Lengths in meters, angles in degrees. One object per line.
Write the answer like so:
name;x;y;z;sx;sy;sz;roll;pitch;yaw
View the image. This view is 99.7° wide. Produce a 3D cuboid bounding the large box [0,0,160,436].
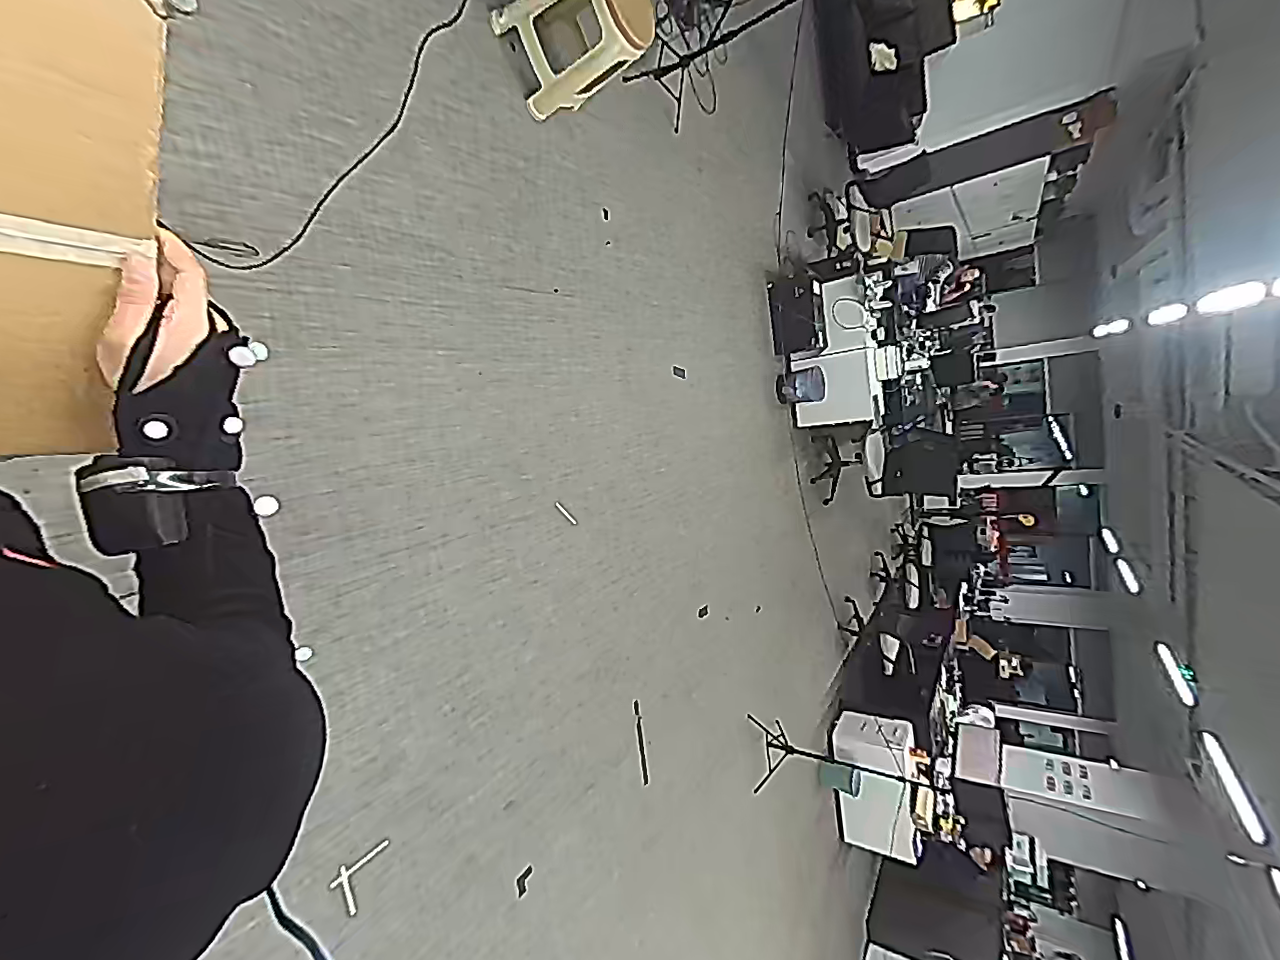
large box;-0.545;-0.226;0.264;0.408;0.320;0.320;-10;137;-53
